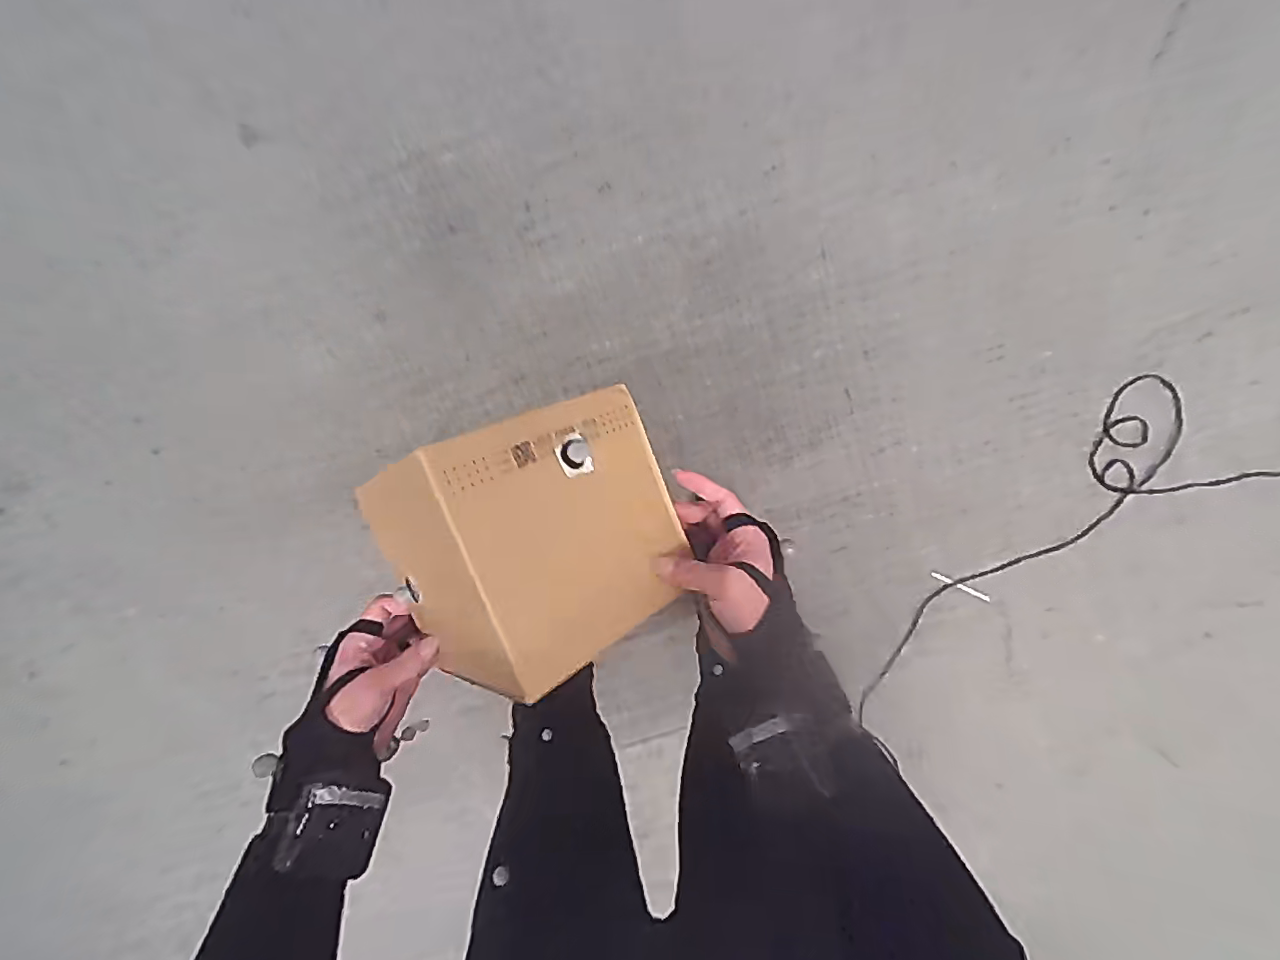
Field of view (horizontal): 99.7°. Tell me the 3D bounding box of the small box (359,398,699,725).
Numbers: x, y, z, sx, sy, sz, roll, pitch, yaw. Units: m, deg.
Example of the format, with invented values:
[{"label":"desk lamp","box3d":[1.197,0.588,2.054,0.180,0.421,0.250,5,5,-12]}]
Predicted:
[{"label":"small box","box3d":[-0.090,0.049,0.417,0.168,0.179,0.176,-28,99,-38]}]
